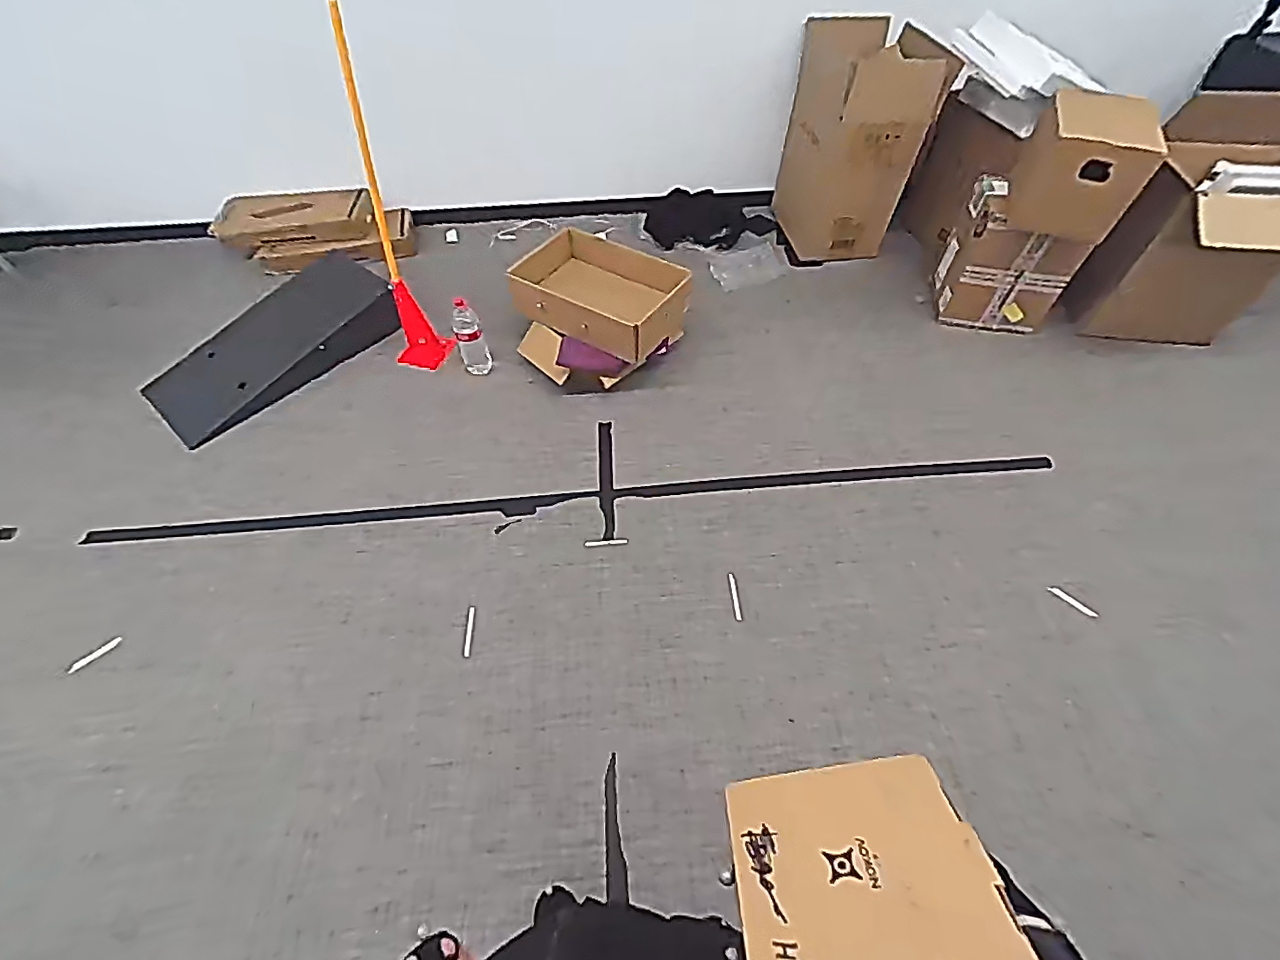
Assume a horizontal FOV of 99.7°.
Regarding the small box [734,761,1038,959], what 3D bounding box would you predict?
[{"bbox_3d":[0.181,0.362,0.430,0.179,0.176,0.168,-11,19,7],"label":"small box"}]
